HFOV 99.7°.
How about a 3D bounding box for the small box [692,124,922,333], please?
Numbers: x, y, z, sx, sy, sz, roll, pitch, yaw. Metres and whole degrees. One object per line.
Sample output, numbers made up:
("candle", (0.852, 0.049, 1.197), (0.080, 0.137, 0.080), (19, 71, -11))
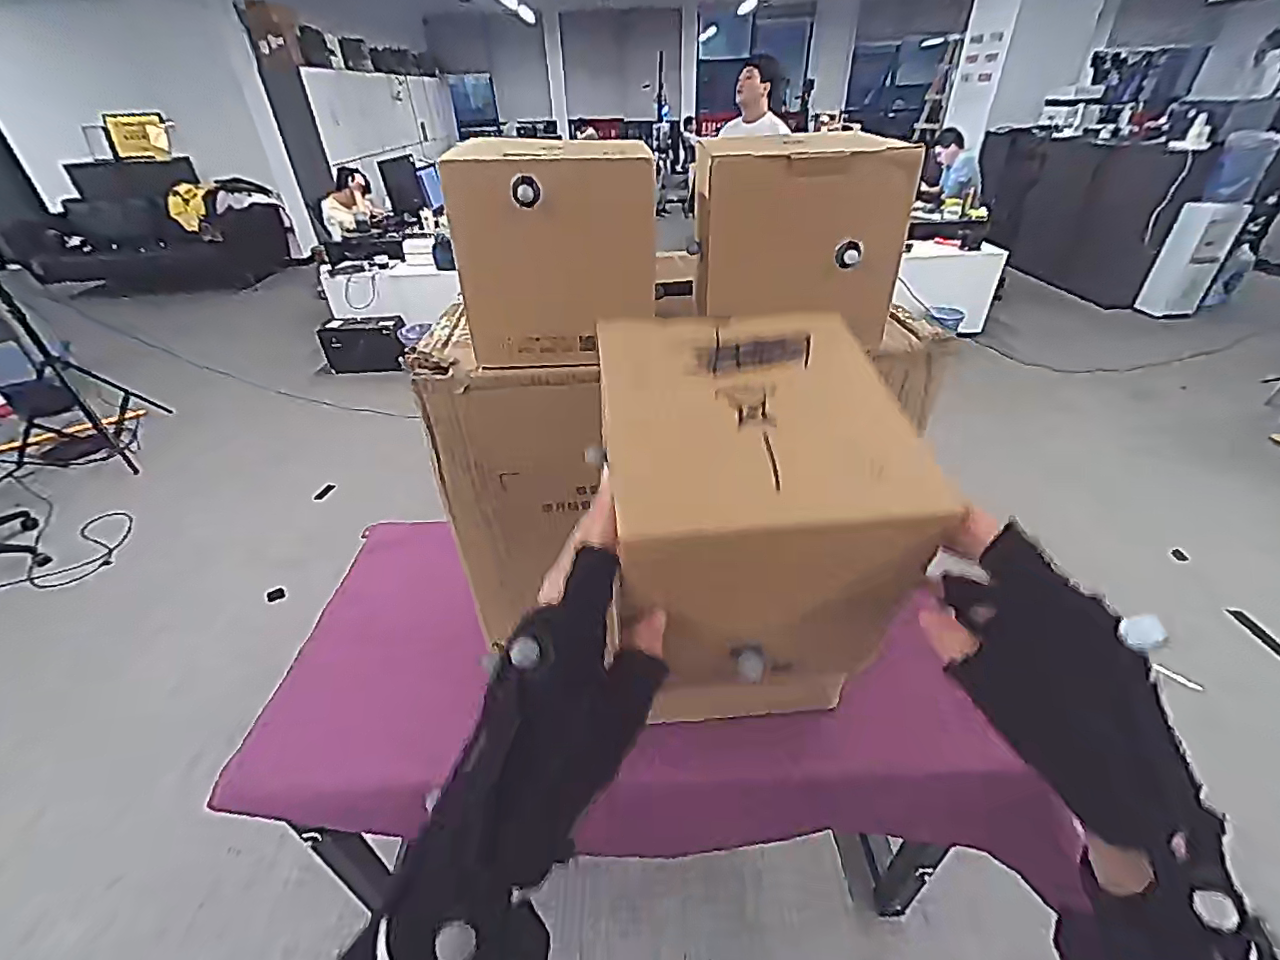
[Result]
("small box", (0.139, -0.238, 0.525), (0.168, 0.176, 0.179), (-1, 35, 1))

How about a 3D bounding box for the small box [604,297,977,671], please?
("small box", (0.062, 0.000, 0.352), (0.168, 0.176, 0.179), (-4, 46, -5))

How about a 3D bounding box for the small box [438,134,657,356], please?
("small box", (-0.073, -0.228, 0.515), (0.168, 0.176, 0.179), (-3, 35, -2))
